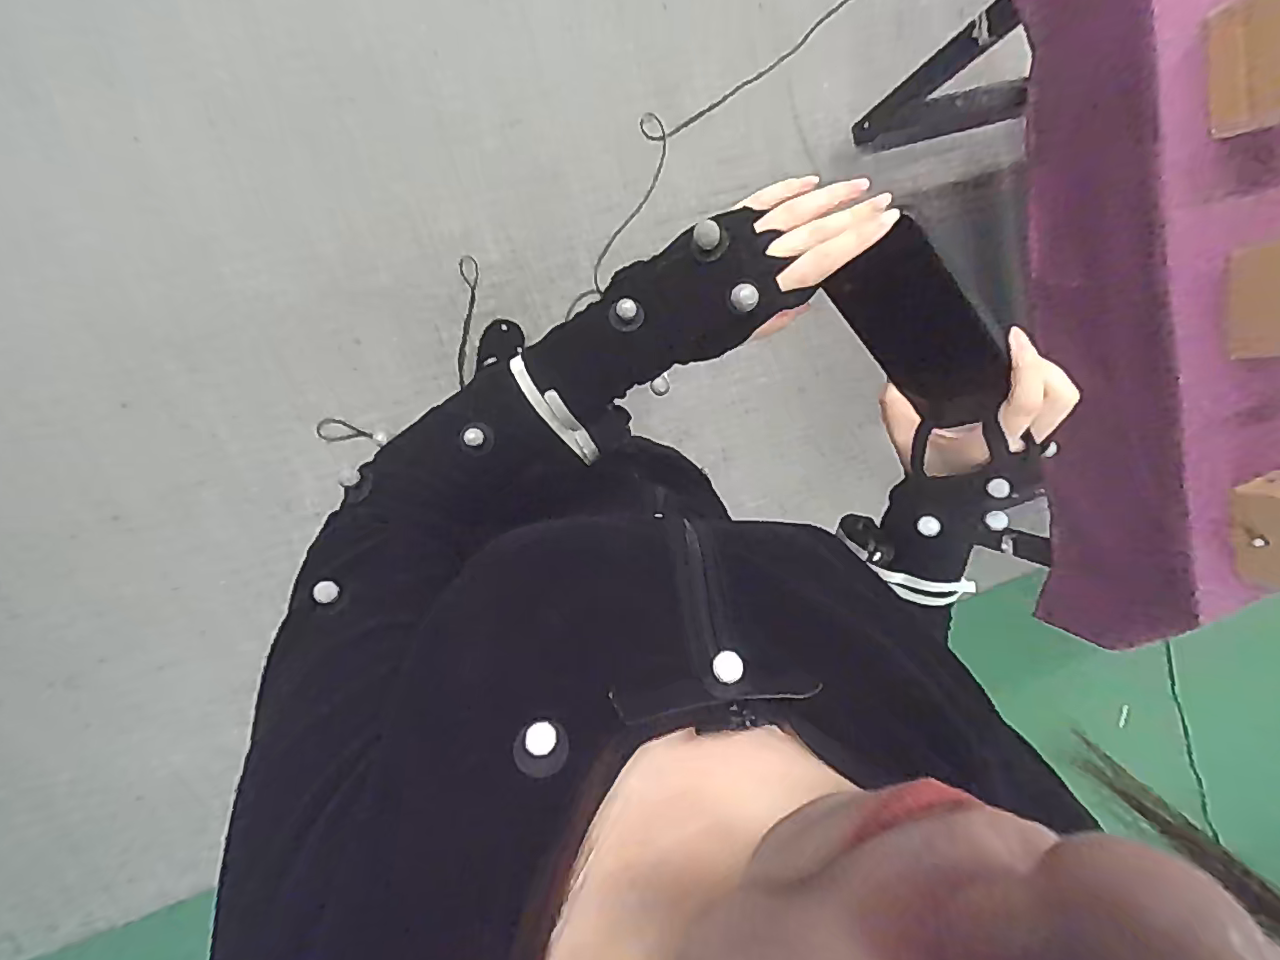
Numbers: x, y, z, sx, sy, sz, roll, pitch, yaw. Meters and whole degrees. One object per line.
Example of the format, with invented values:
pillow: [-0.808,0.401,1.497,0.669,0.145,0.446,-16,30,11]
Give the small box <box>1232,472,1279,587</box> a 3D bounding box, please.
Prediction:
small box: [1.145,0.087,0.892,0.168,0.176,0.179,-18,101,-9]

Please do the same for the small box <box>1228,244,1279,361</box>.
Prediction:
small box: [1.061,-0.289,0.825,0.168,0.176,0.179,-14,101,-9]

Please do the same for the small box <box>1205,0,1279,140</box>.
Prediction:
small box: [0.953,-0.618,0.759,0.168,0.176,0.179,-16,102,-9]
